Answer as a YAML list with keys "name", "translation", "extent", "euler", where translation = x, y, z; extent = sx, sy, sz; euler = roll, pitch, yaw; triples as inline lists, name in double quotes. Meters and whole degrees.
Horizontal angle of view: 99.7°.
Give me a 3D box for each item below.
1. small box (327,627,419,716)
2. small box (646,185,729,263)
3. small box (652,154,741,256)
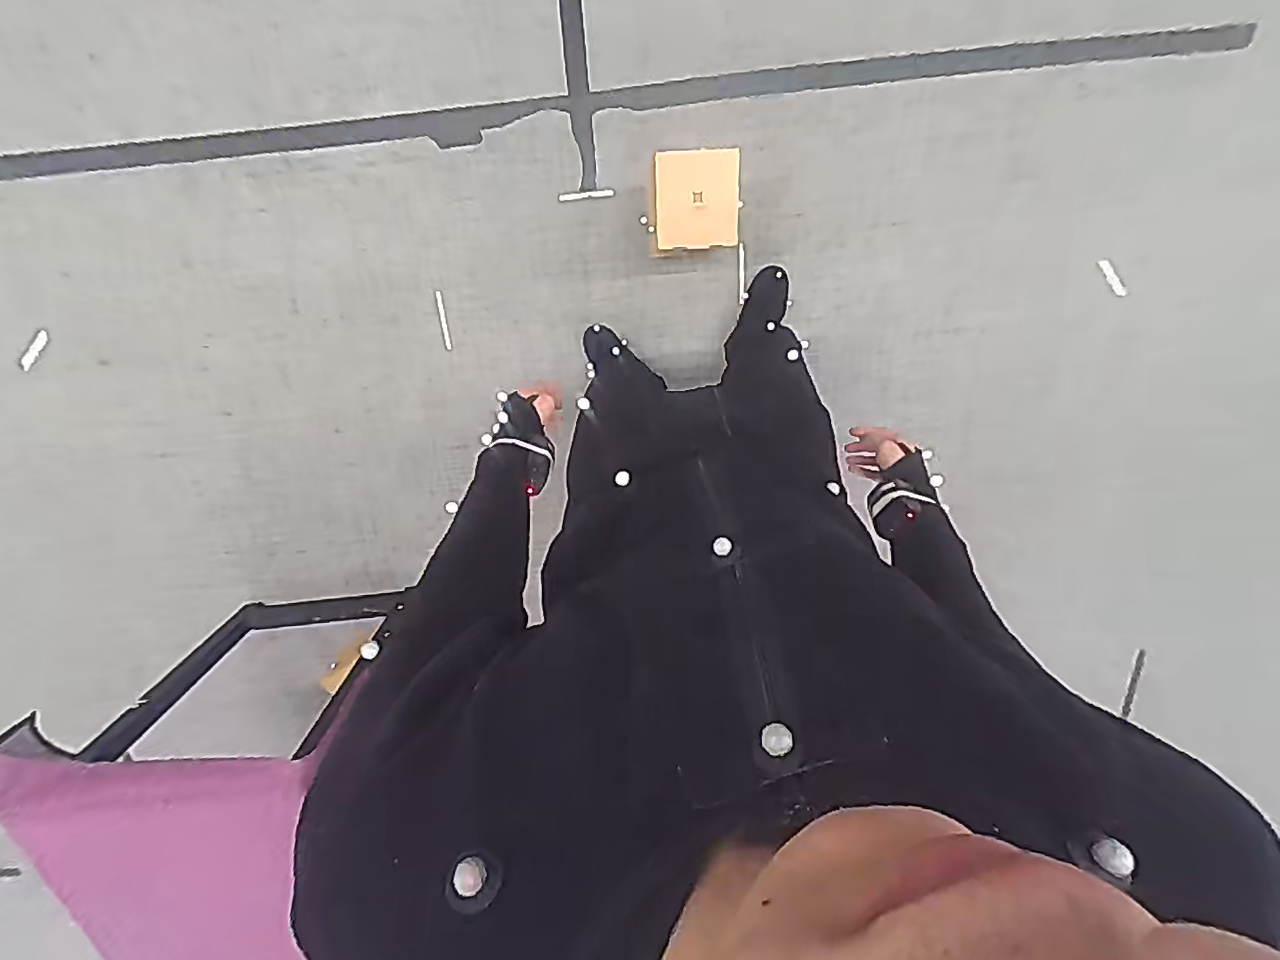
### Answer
- name: "small box"
  translation: [-0.859, 0.619, 1.758]
  extent: [0.179, 0.176, 0.168]
  euler: [-33, 109, 11]
- name: "small box"
  translation: [0.113, -0.624, 1.306]
  extent: [0.179, 0.176, 0.168]
  euler: [-7, 111, 1]
- name: "small box"
  translation: [0.114, -0.576, 1.150]
  extent: [0.168, 0.176, 0.179]
  euler: [-3, 112, -1]
